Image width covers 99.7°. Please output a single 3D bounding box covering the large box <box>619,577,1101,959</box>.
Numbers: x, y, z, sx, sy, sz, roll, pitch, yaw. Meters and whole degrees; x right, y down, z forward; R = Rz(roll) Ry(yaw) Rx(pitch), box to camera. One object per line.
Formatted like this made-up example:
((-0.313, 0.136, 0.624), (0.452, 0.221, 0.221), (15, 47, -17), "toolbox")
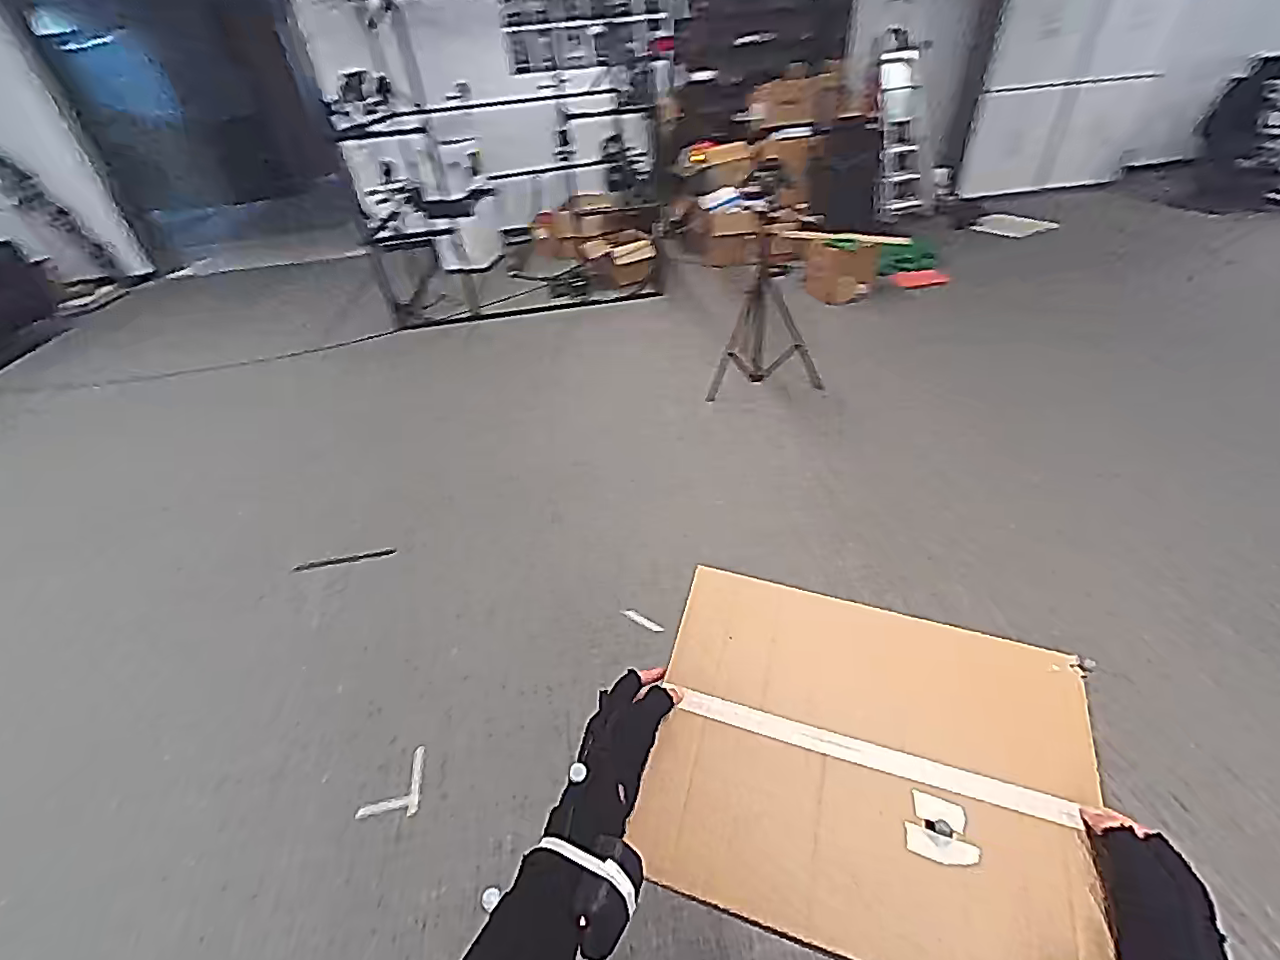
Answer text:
((0.217, 0.360, 0.652), (0.408, 0.320, 0.320), (11, 55, 13), "large box")
